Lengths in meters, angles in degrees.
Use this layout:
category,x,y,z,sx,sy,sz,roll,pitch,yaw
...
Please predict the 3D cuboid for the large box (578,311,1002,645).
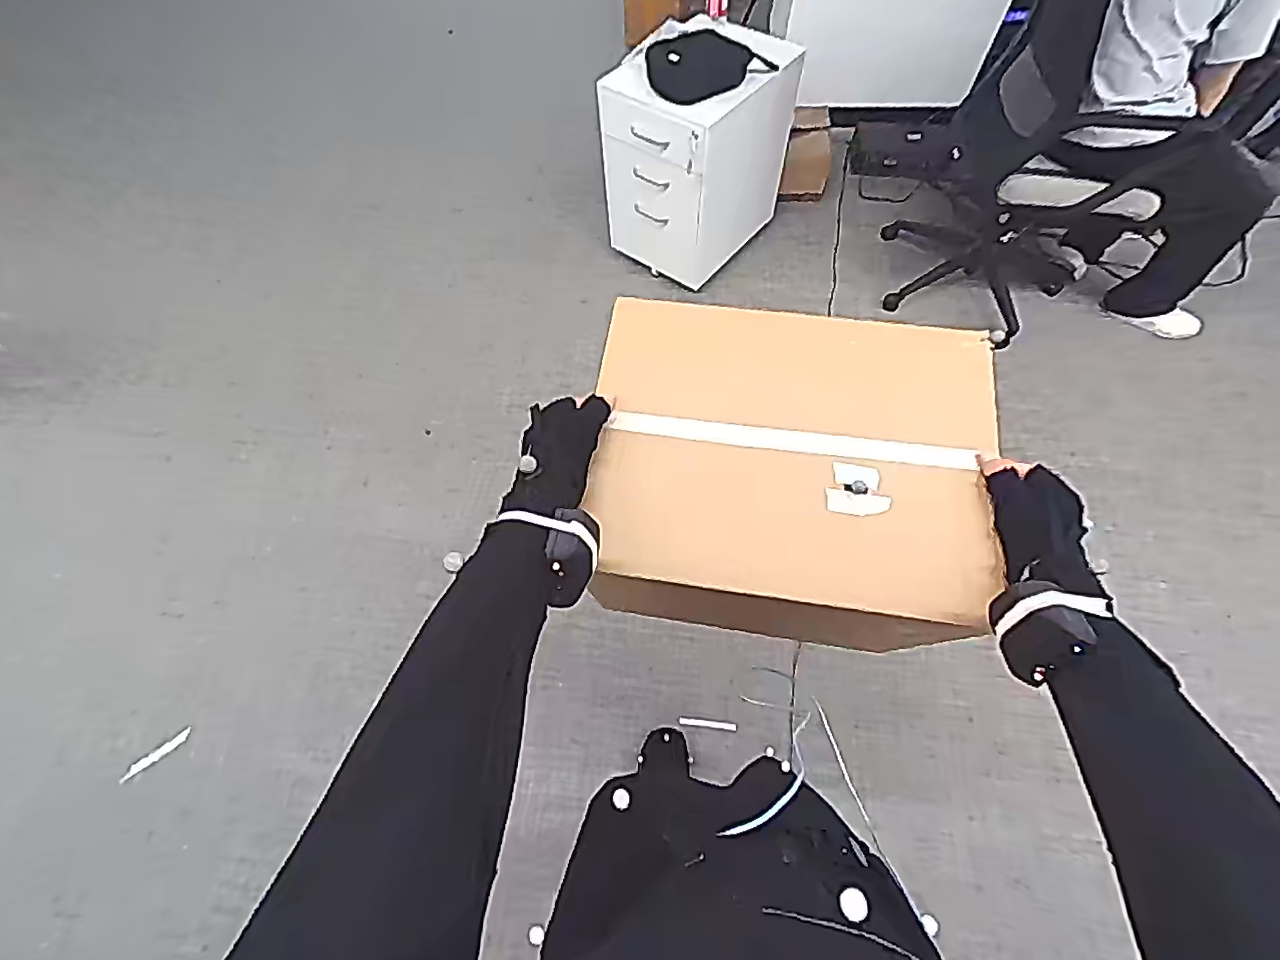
category,x,y,z,sx,sy,sz,roll,pitch,yaw
large box,0.162,0.018,0.698,0.408,0.320,0.320,8,71,6
